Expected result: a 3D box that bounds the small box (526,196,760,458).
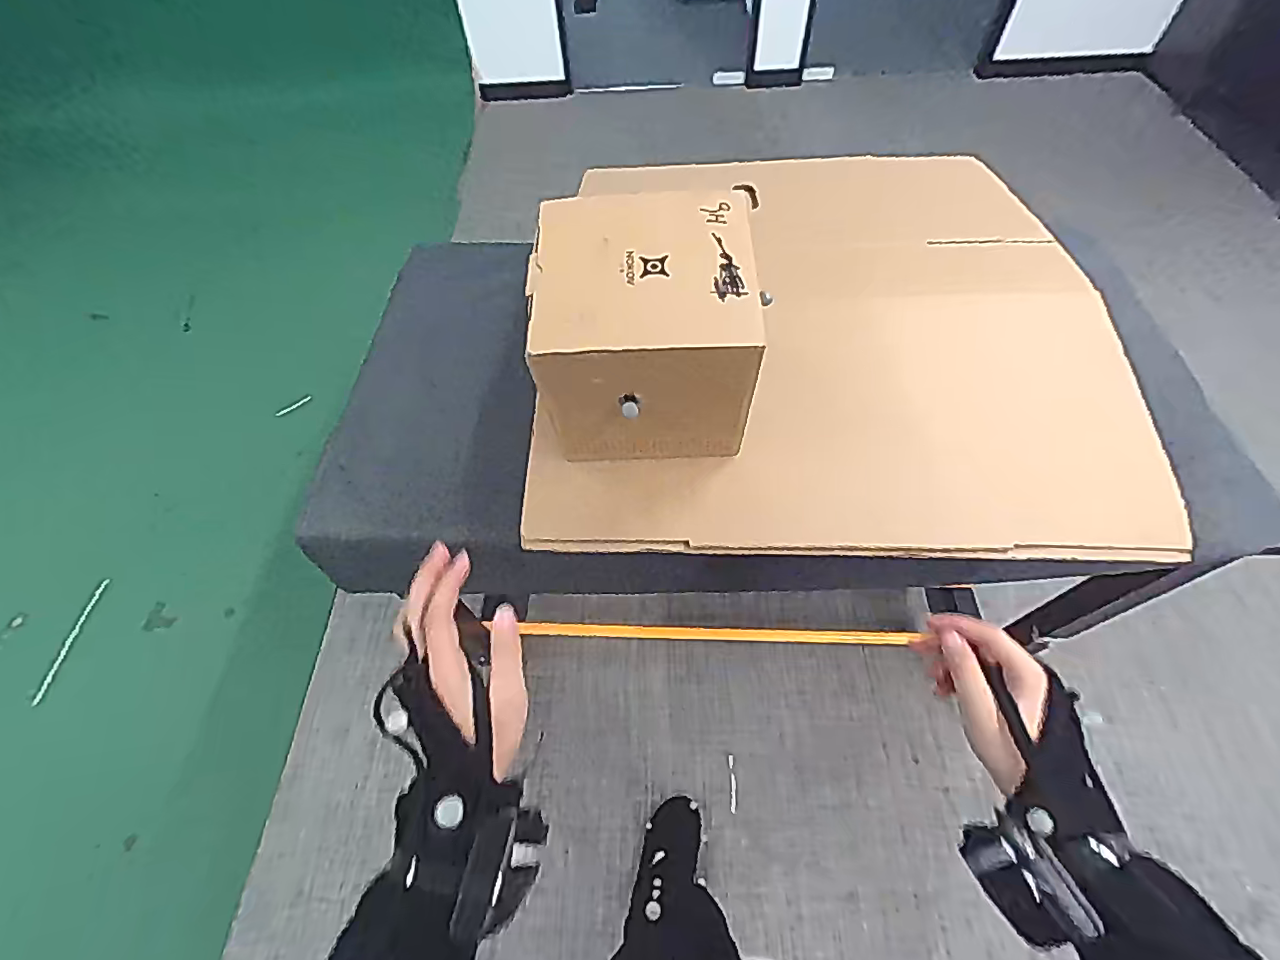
[{"bbox_3d":[0.007,-0.129,0.499,0.179,0.176,0.168,-2,65,3],"label":"small box"}]
